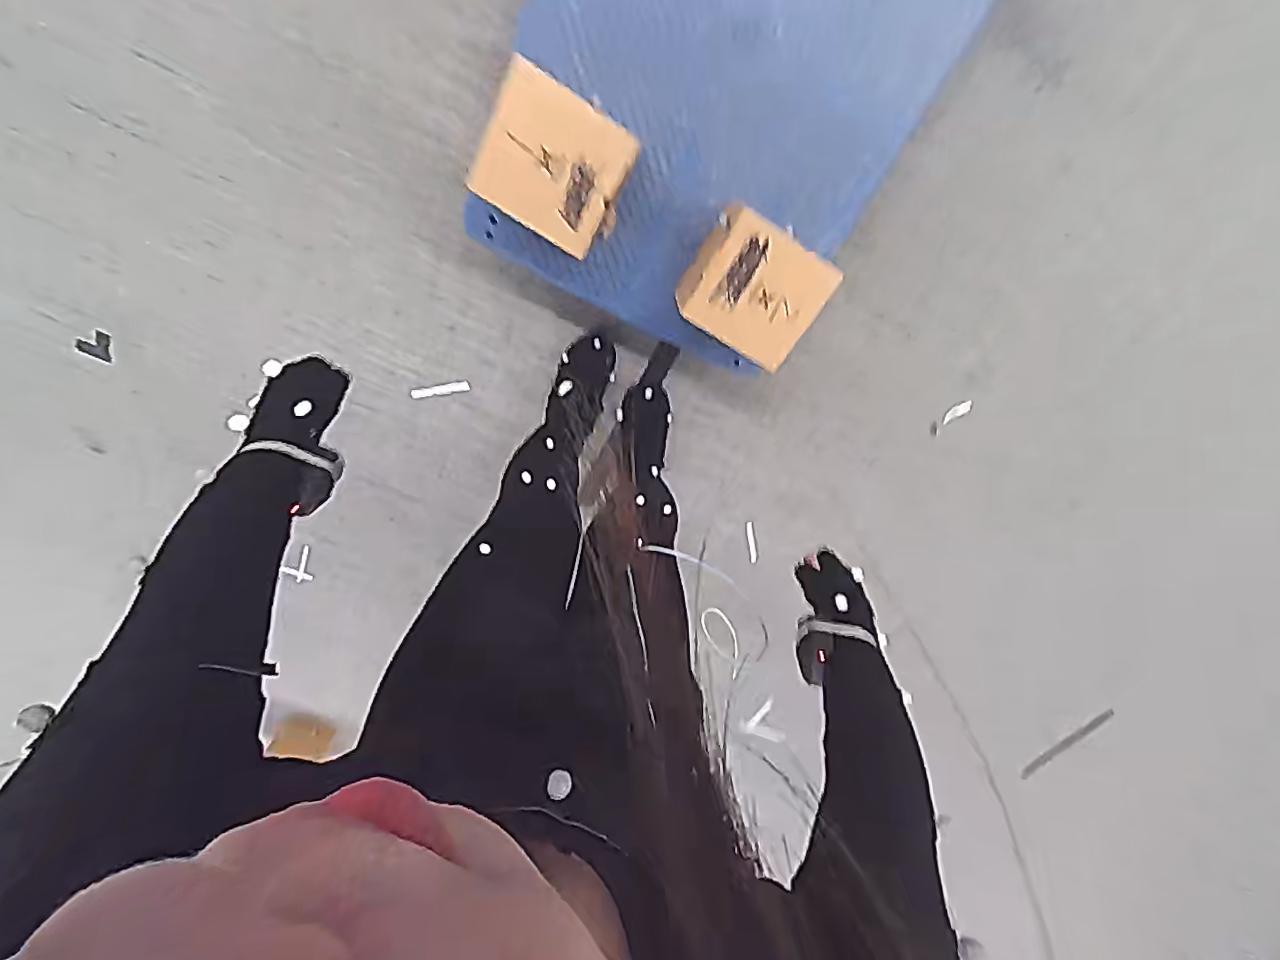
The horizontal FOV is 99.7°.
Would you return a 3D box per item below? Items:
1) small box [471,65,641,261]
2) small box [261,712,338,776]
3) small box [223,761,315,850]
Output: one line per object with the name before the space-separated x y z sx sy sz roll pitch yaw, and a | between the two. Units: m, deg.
small box | -0.110 -0.447 0.777 0.179 0.176 0.168 29 116 -14
small box | -1.150 0.922 1.819 0.168 0.176 0.179 26 117 -14
small box | -1.146 1.007 1.681 0.179 0.176 0.168 22 119 -11
